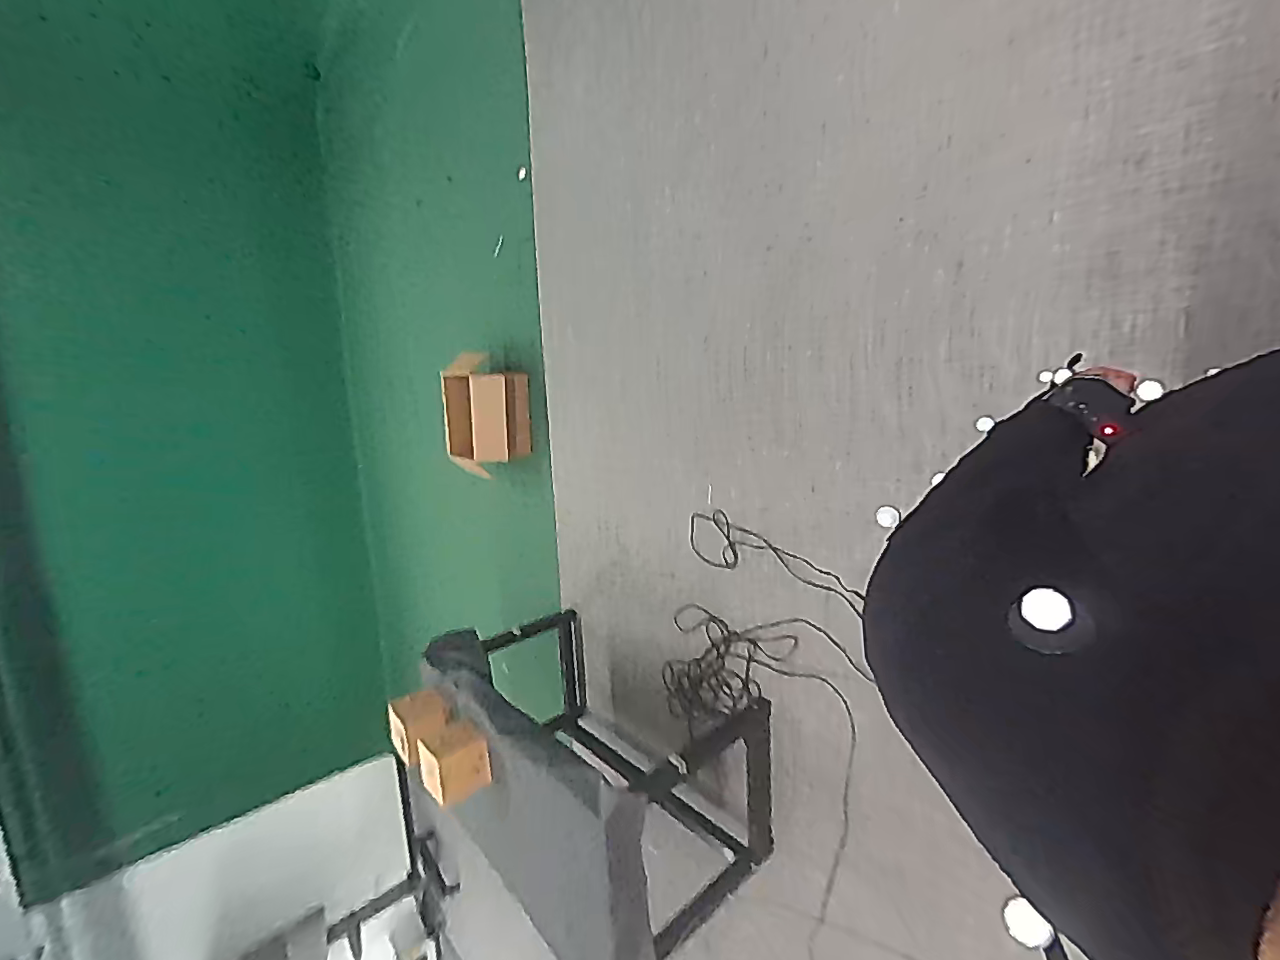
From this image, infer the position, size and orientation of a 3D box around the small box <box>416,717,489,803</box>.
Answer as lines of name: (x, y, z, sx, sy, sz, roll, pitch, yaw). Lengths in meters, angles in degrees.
small box: (-0.622, 0.919, 1.796, 0.179, 0.176, 0.168, 4, 101, 47)
